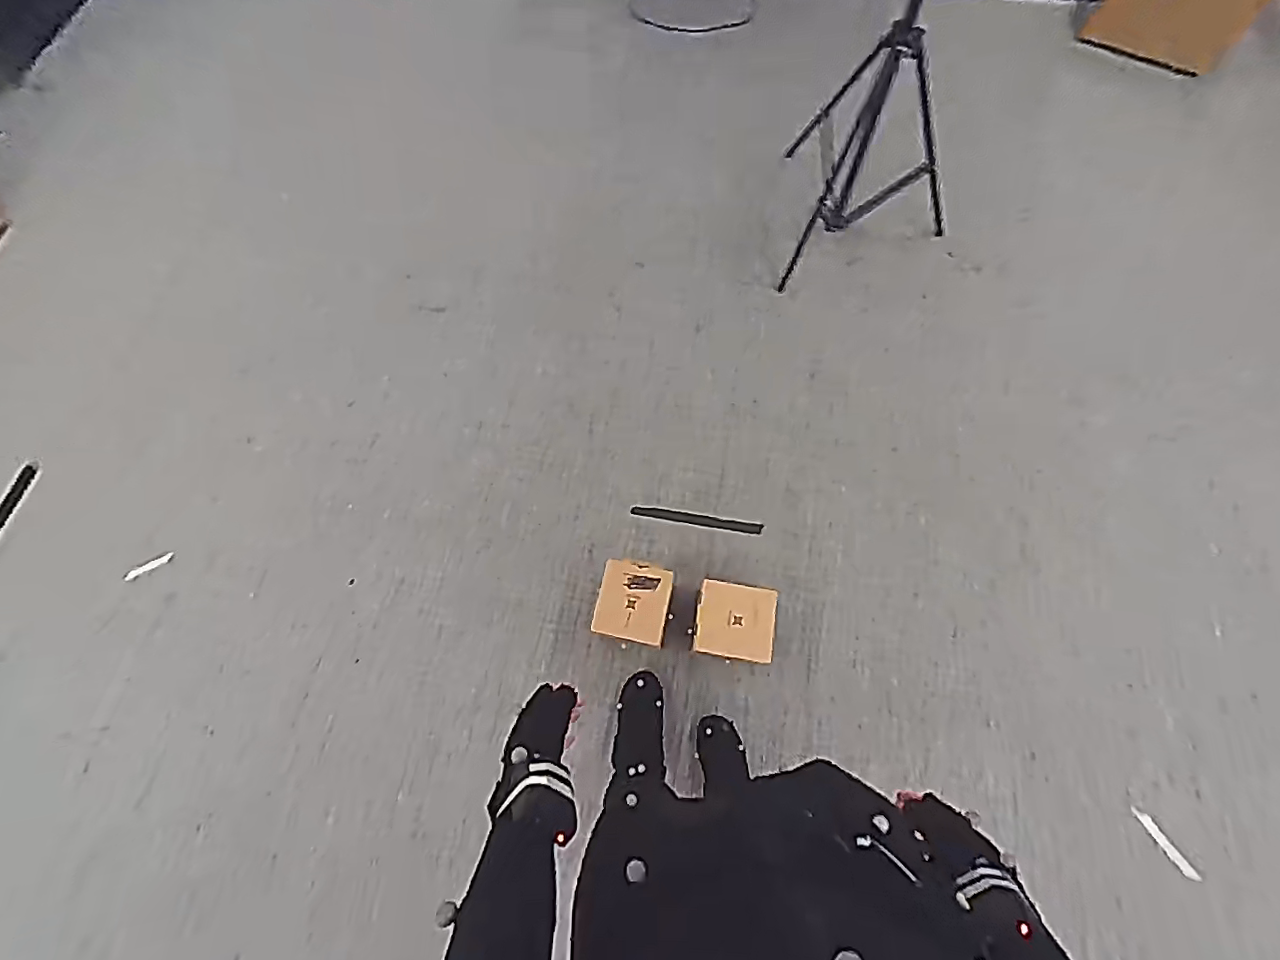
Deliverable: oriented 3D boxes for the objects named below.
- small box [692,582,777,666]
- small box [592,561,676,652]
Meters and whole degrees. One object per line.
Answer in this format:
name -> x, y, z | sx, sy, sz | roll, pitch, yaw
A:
small box -> 0.223, 0.354, 1.313 | 0.179, 0.176, 0.168 | 9, 72, 5
small box -> -0.011, 0.317, 1.337 | 0.168, 0.176, 0.179 | 12, 71, 8
